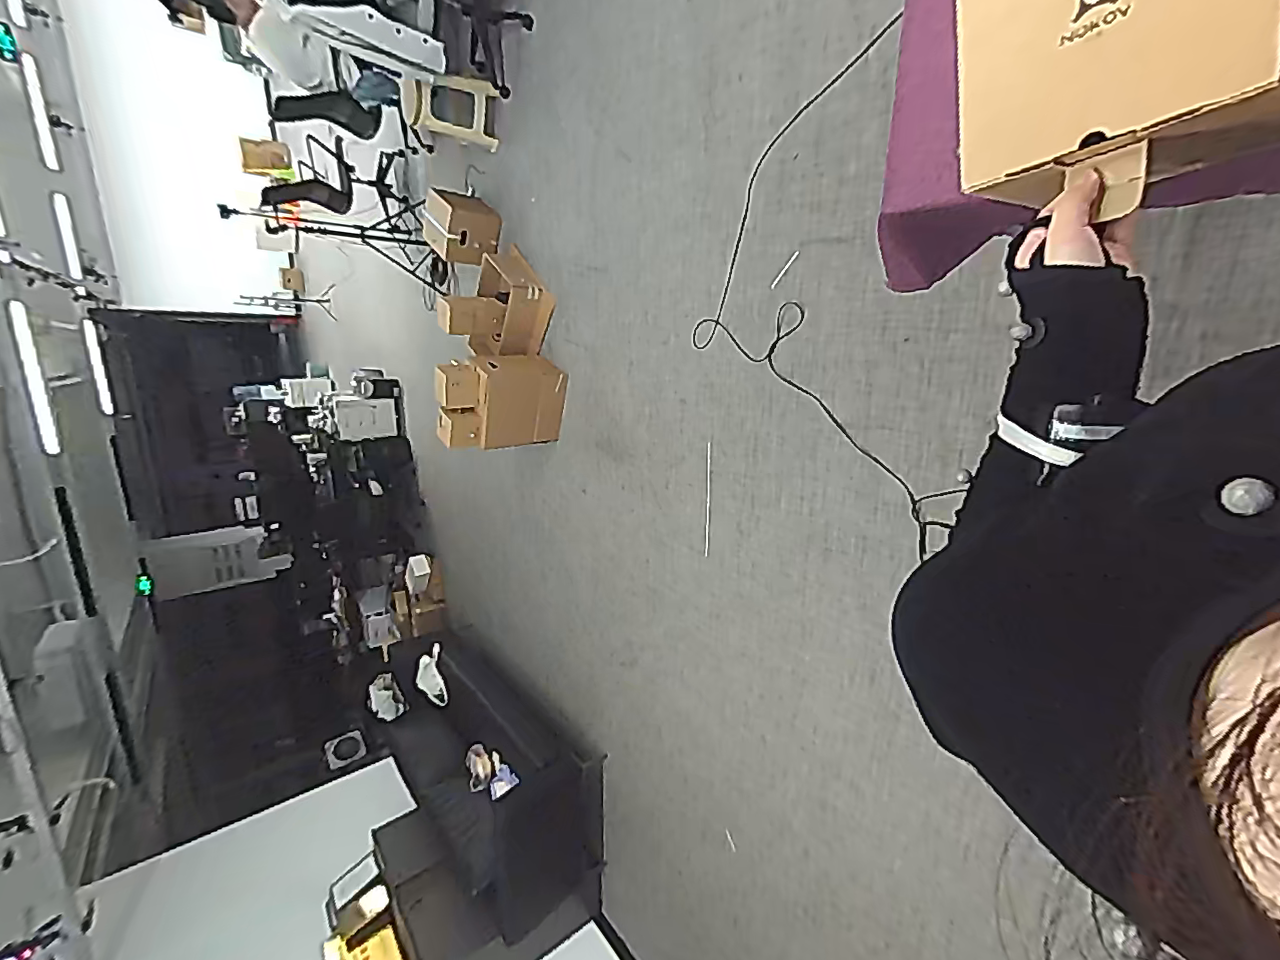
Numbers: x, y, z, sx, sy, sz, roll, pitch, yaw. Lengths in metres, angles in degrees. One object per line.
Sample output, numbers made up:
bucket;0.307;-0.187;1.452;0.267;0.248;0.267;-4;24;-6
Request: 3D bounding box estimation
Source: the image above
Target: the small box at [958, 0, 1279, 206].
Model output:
small box;0.364;-0.329;0.407;0.168;0.176;0.179;7;108;54
